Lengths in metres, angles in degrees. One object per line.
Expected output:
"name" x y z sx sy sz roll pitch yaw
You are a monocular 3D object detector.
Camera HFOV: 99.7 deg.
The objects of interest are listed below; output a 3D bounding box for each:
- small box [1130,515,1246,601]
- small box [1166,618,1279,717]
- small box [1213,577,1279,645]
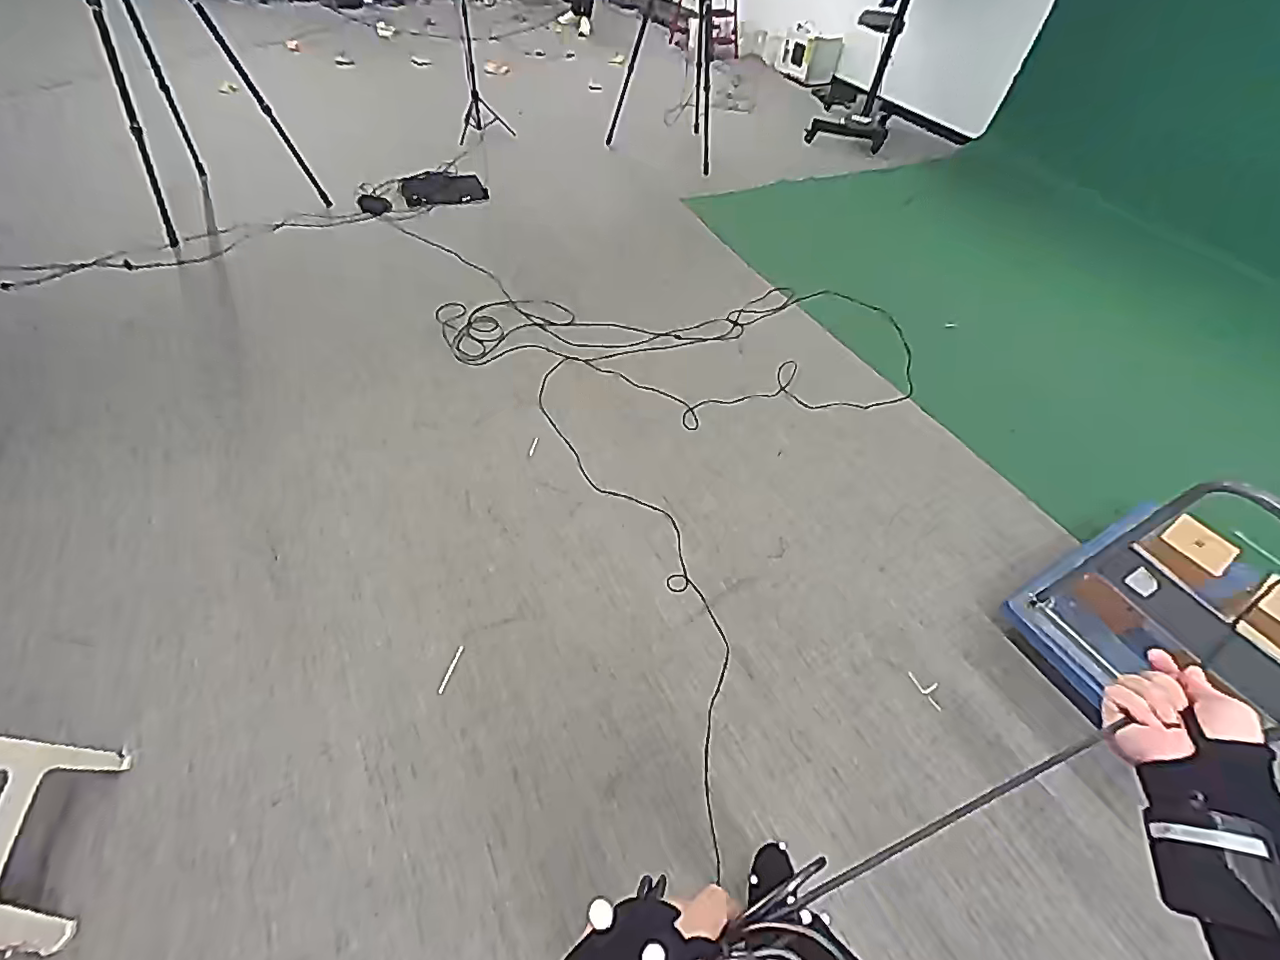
"small box" 1.693 0.246 1.684 0.179 0.176 0.168 -25 58 -24
"small box" 1.601 0.508 1.461 0.179 0.176 0.168 -22 56 -20
"small box" 1.834 0.413 1.560 0.179 0.176 0.168 -26 57 -23
